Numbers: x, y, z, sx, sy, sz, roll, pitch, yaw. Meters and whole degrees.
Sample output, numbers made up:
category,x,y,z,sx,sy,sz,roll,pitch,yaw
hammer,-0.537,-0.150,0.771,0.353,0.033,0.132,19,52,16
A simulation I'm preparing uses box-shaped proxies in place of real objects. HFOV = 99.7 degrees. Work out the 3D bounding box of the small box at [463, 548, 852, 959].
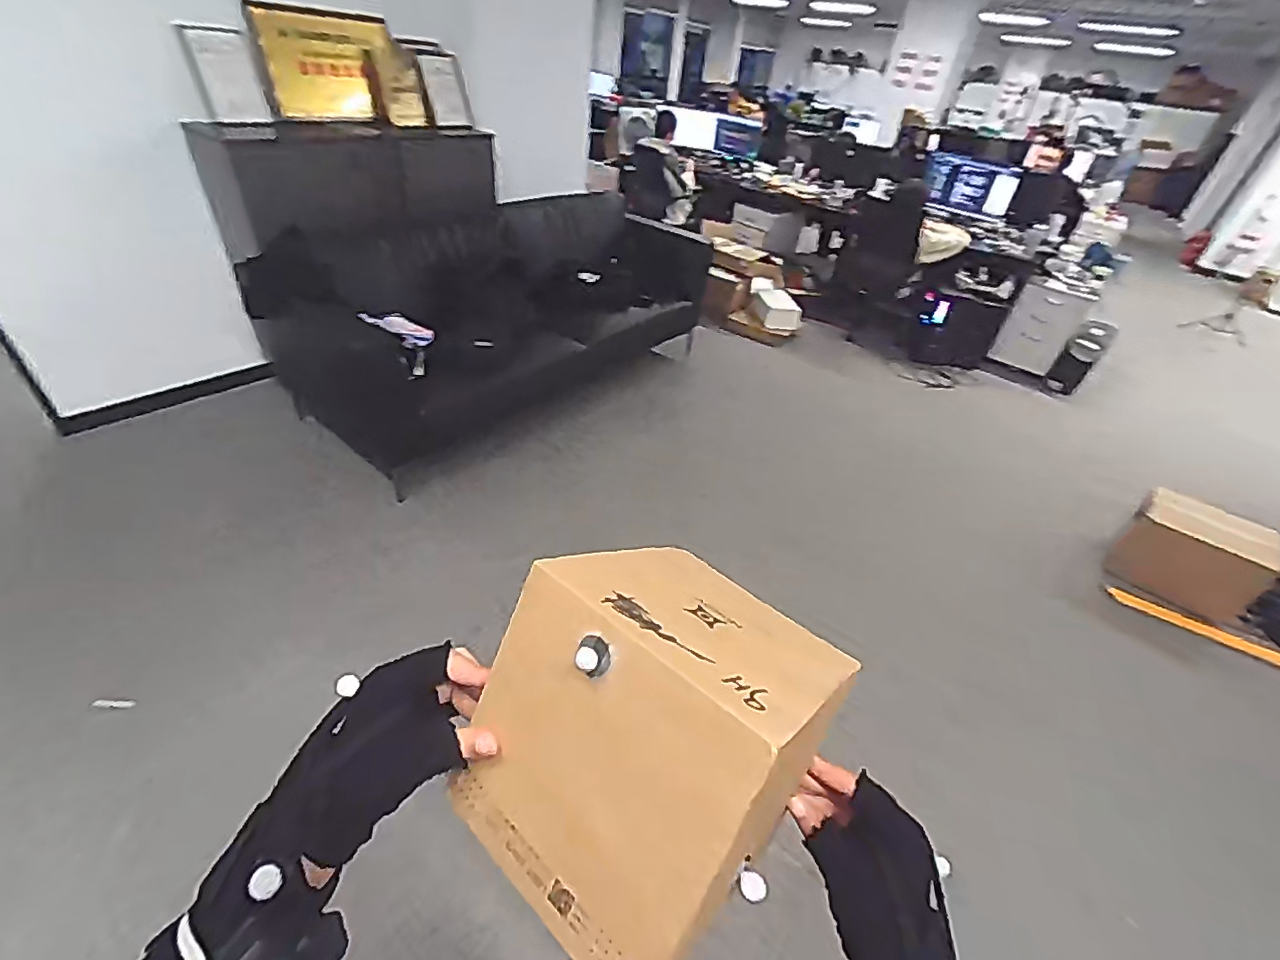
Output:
category,x,y,z,sx,sy,sz,roll,pitch,yaw
small box,0.014,0.160,0.367,0.168,0.176,0.179,28,10,32
